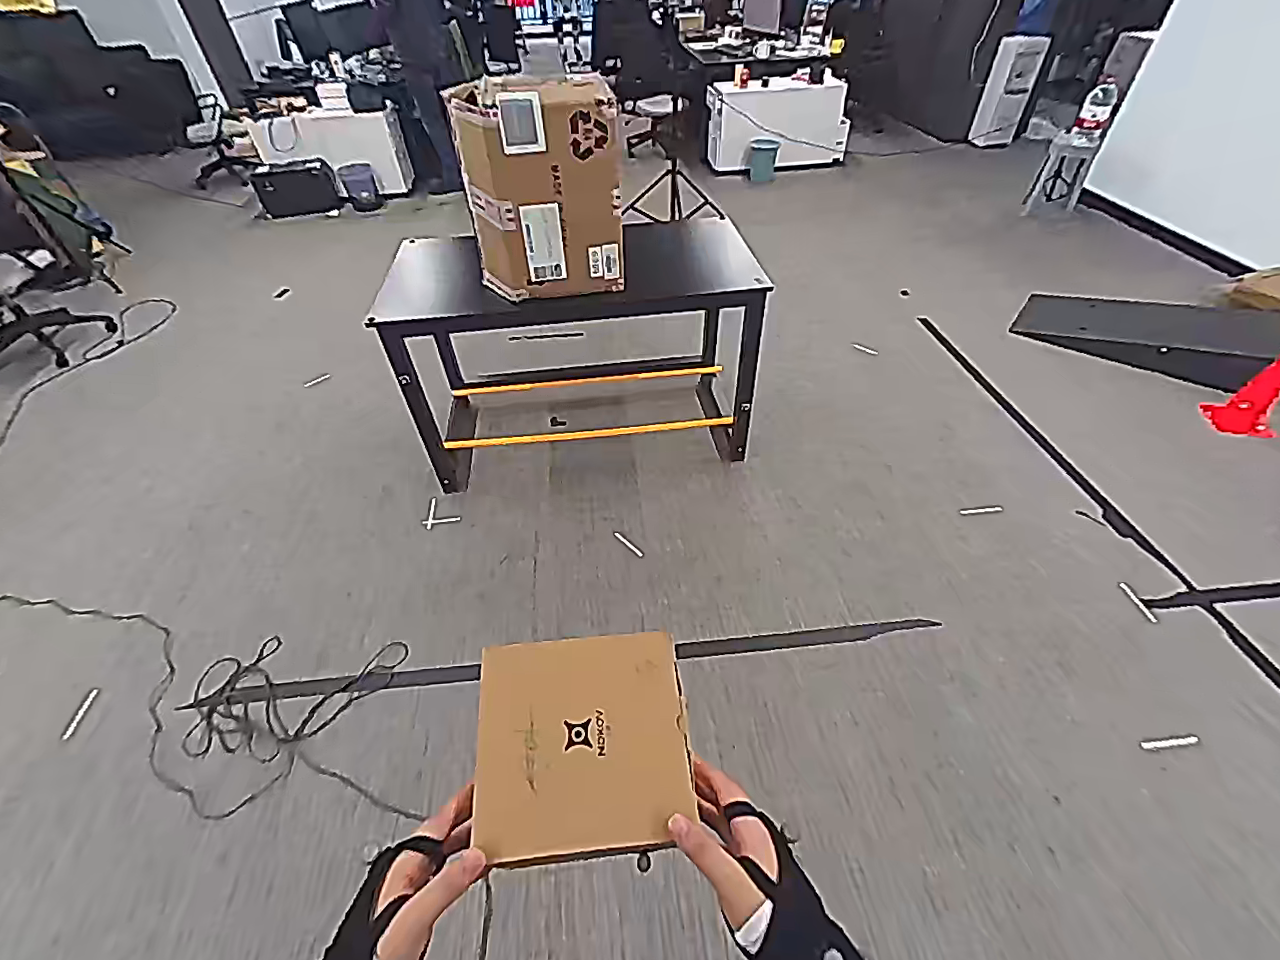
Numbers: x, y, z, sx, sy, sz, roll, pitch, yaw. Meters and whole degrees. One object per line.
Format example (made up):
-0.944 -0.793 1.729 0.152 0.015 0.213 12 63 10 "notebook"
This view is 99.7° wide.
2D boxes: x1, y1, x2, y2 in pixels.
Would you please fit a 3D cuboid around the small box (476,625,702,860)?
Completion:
-0.048 0.257 0.523 0.179 0.176 0.168 -6 53 -5 "small box"
